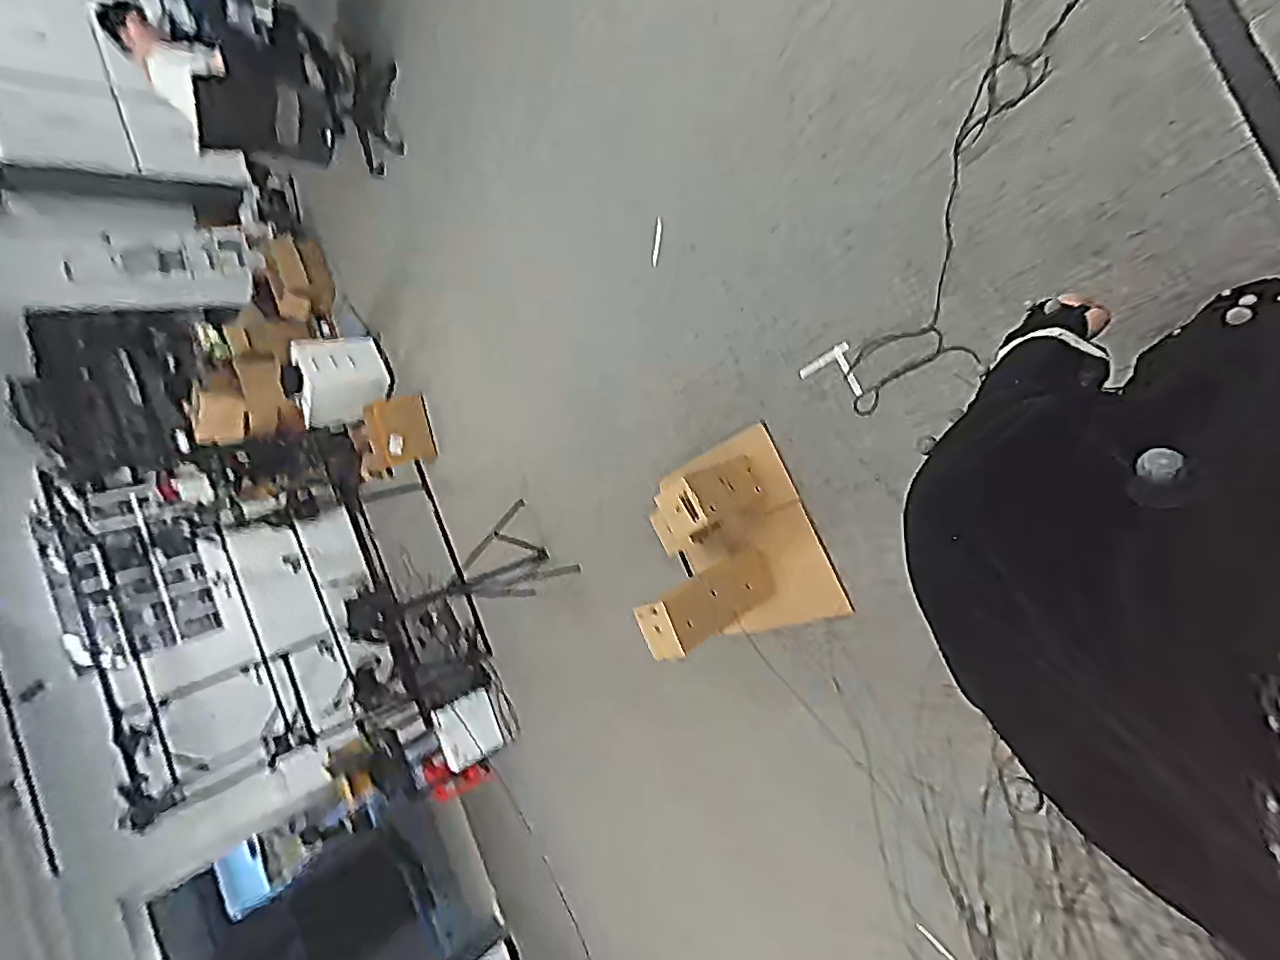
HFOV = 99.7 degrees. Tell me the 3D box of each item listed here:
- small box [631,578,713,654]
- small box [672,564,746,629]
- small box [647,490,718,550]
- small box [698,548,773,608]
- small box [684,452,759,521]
[{"bbox_3d":[0.107,0.438,1.744,0.168,0.176,0.179,-28,85,49],"label":"small box"},{"bbox_3d":[0.228,0.397,1.847,0.168,0.176,0.179,-24,87,50],"label":"small box"},{"bbox_3d":[0.165,0.145,2.081,0.168,0.176,0.179,-37,76,49],"label":"small box"},{"bbox_3d":[0.347,0.355,1.953,0.168,0.176,0.179,-26,86,49],"label":"small box"},{"bbox_3d":[0.292,0.021,1.889,0.179,0.176,0.168,-37,76,48],"label":"small box"}]
